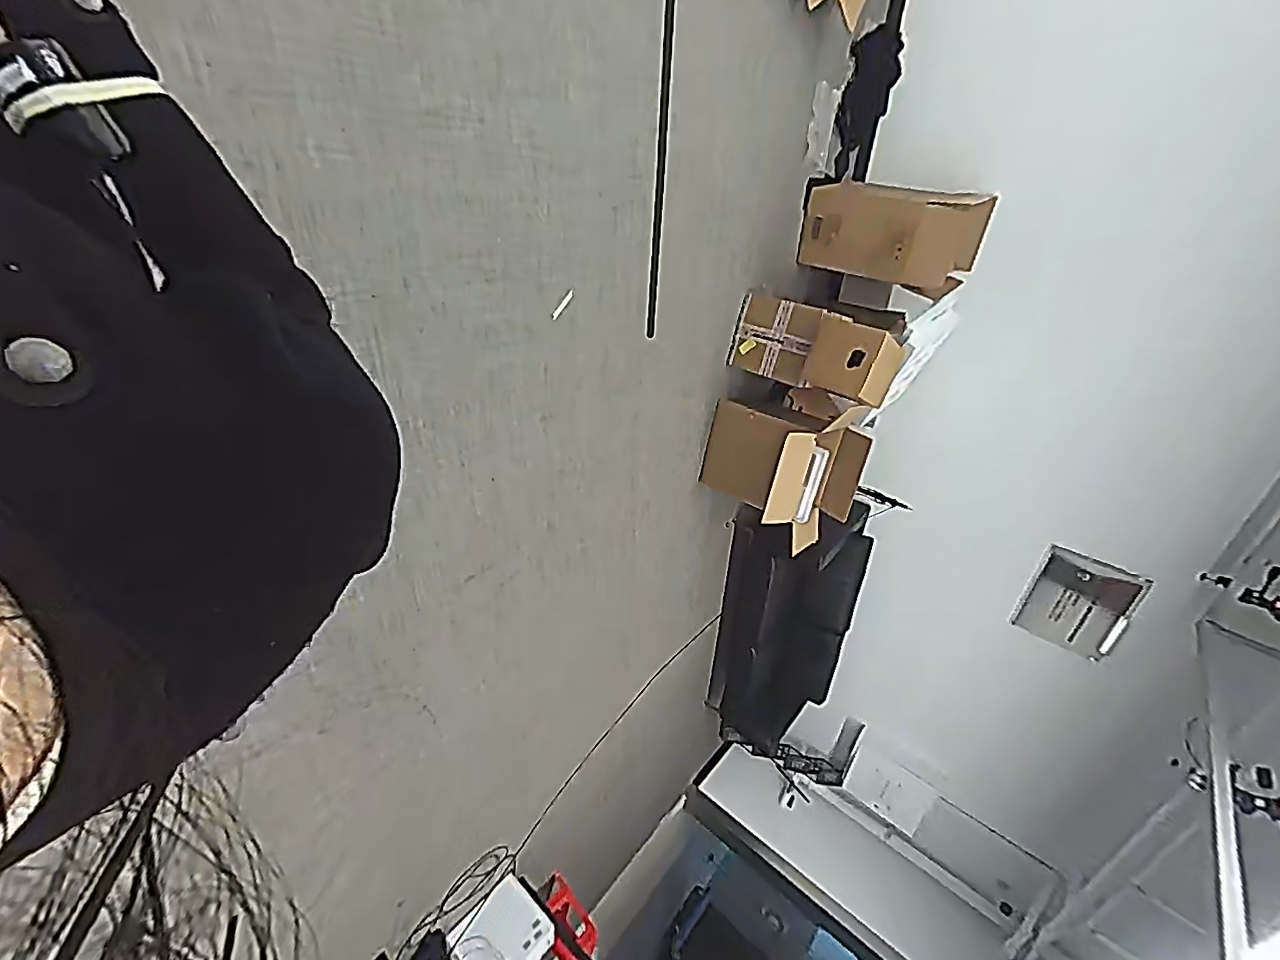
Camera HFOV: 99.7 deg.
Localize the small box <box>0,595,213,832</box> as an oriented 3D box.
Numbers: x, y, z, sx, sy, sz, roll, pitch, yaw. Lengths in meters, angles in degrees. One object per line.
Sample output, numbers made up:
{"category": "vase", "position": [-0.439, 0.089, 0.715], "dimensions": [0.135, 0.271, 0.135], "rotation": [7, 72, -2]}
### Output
{"category": "small box", "position": [-0.689, 0.278, 0.683], "dimensions": [0.179, 0.176, 0.168], "rotation": [-26, 131, -44]}
